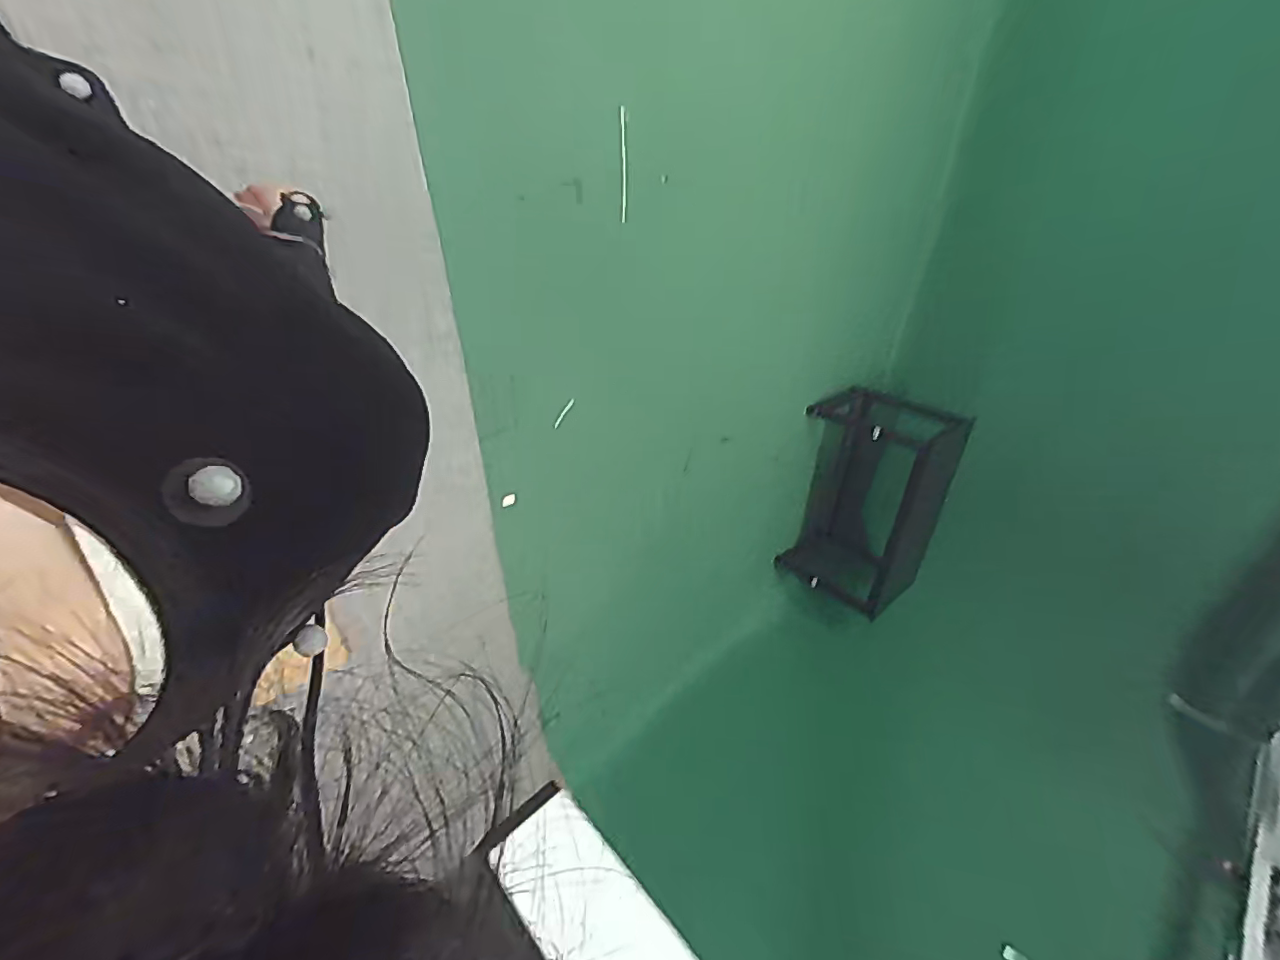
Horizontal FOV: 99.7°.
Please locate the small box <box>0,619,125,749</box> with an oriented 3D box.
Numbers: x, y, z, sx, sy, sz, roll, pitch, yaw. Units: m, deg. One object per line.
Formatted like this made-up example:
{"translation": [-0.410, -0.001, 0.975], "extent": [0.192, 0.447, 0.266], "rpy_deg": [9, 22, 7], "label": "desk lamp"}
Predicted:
{"translation": [-1.262, 0.427, 1.170], "extent": [0.168, 0.176, 0.179], "rpy_deg": [-22, 129, -37], "label": "small box"}
